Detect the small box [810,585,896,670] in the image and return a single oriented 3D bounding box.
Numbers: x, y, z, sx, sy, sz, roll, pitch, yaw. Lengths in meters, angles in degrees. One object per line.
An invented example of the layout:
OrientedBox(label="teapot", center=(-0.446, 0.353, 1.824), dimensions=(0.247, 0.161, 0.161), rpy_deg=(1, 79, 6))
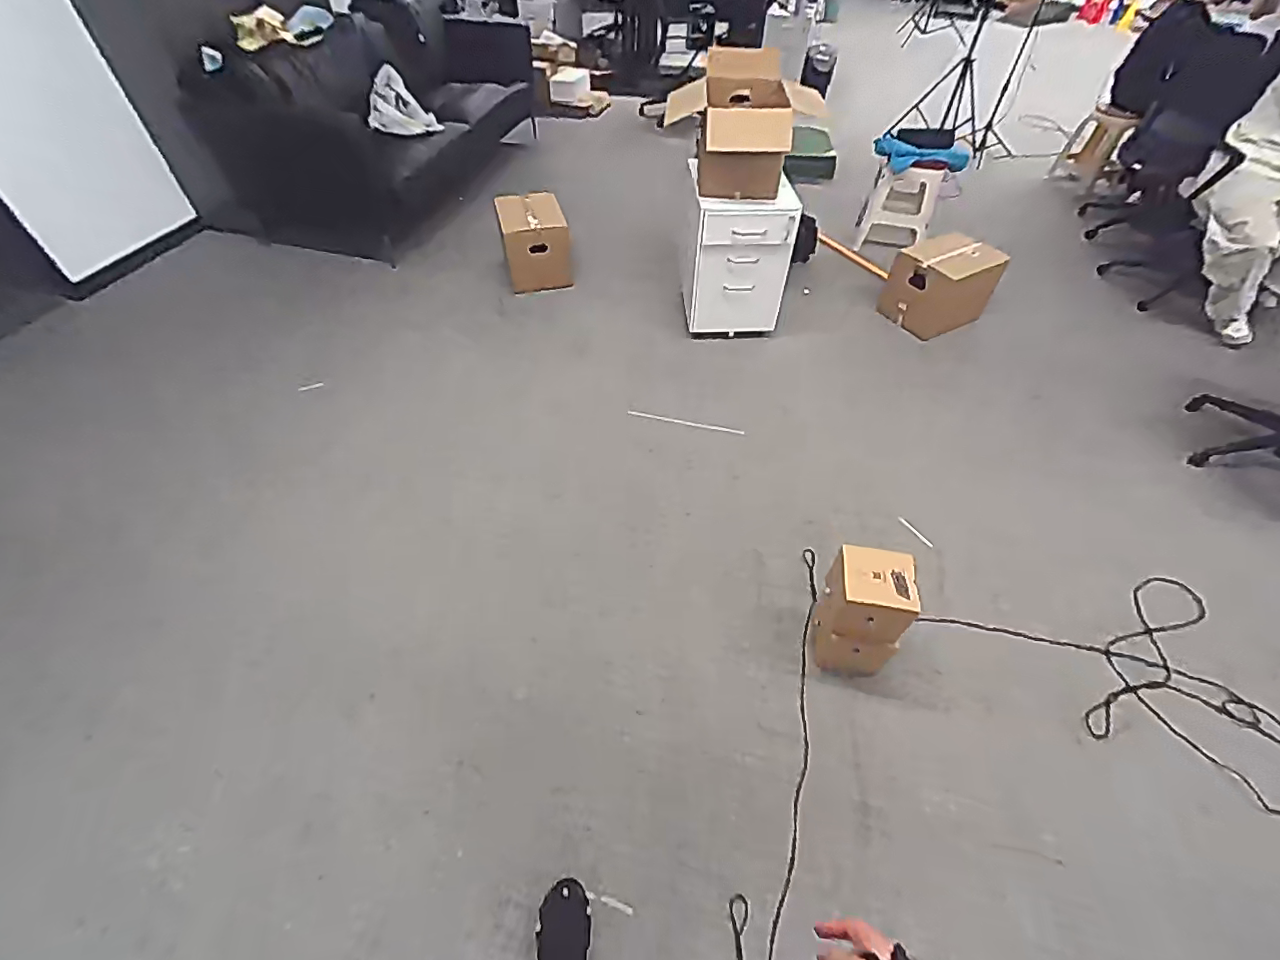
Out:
OrientedBox(label="small box", center=(0.576, 0.408, 1.492), dimensions=(0.179, 0.176, 0.168), rpy_deg=(6, 49, 4))

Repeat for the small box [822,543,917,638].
OrientedBox(label="small box", center=(0.577, 0.286, 1.381), dimensions=(0.179, 0.176, 0.168), rpy_deg=(8, 48, 8))
